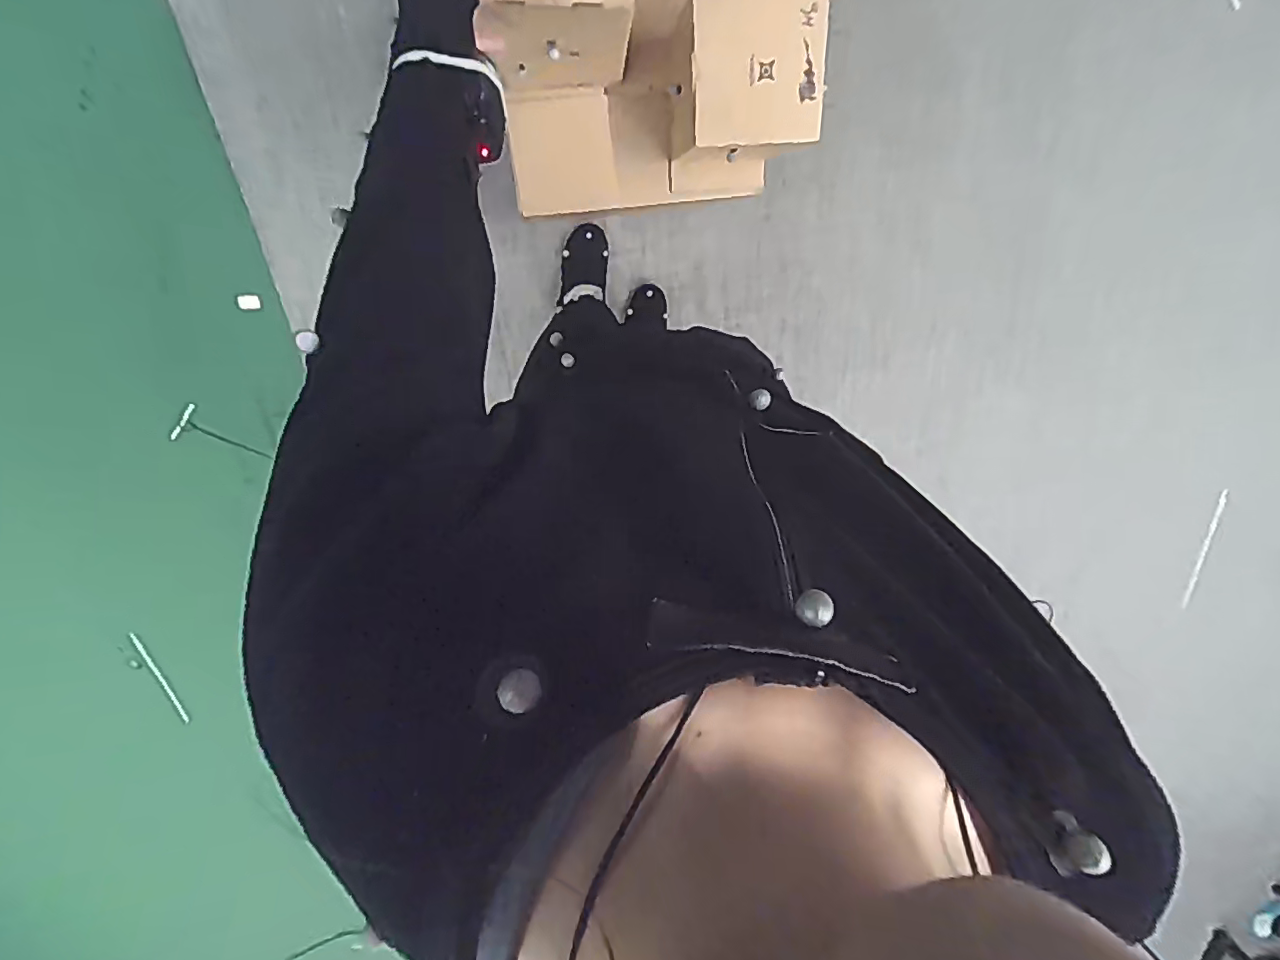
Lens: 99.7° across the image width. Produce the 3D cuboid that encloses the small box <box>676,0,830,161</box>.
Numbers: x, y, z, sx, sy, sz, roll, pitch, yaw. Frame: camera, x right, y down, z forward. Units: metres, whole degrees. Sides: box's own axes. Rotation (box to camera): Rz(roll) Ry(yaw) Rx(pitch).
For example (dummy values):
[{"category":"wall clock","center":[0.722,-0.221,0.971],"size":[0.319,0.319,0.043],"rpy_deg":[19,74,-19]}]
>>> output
[{"category":"small box","center":[0.144,-0.553,0.760],"size":[0.179,0.176,0.168],"rpy_deg":[-5,117,-3]}]

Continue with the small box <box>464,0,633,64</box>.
[{"category":"small box","center":[-0.095,-0.562,0.556],"size":[0.168,0.176,0.179],"rpy_deg":[-2,114,-4]}]
